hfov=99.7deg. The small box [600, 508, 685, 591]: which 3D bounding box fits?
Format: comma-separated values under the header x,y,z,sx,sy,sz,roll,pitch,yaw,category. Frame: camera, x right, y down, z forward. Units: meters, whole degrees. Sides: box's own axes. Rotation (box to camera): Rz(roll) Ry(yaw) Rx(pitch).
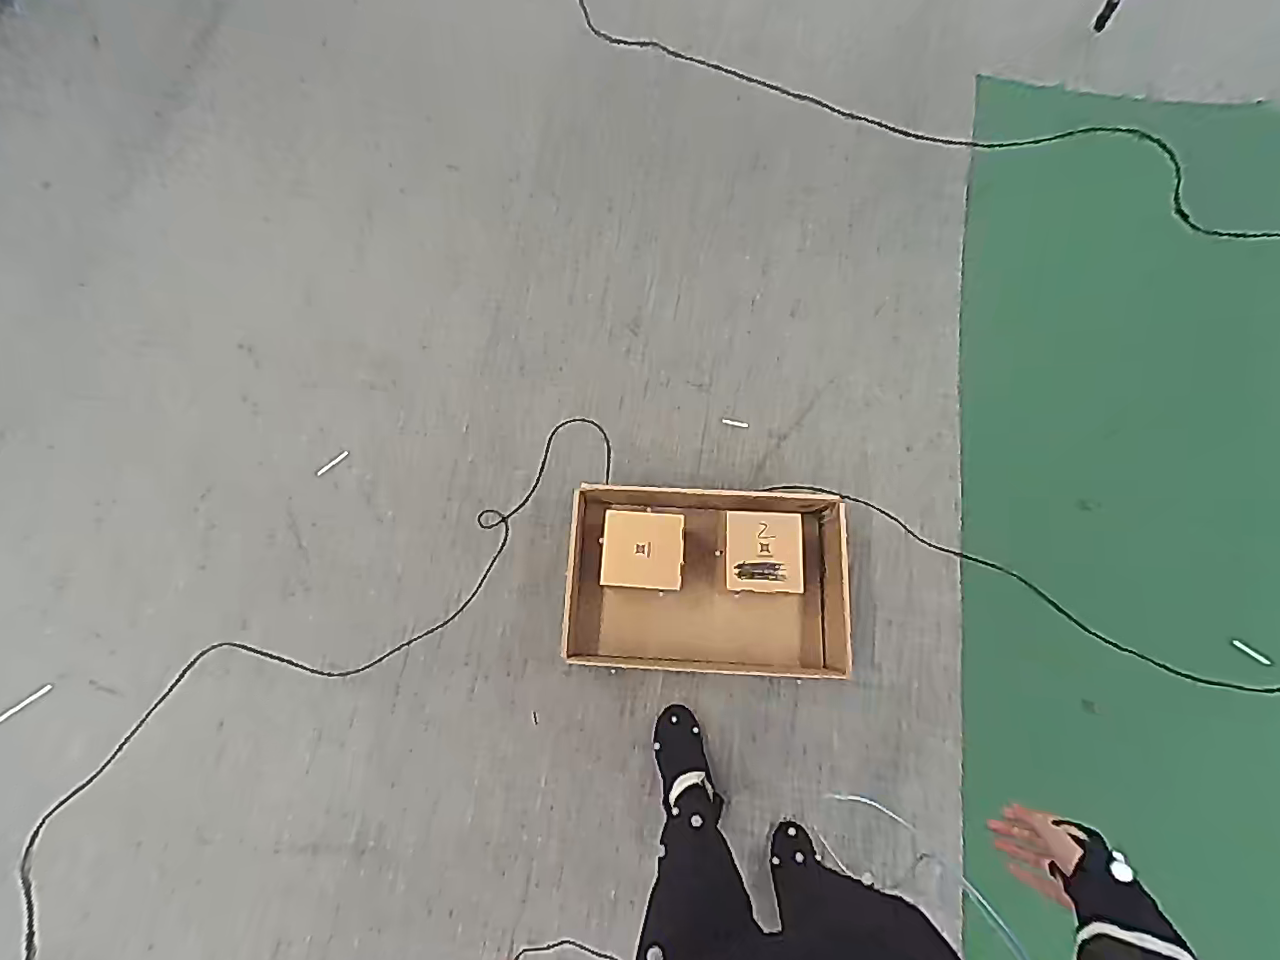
x,y,z,sx,sy,sz,roll,pitch,yaw,category
0.007,0.166,1.253,0.179,0.176,0.168,4,76,1,small box
